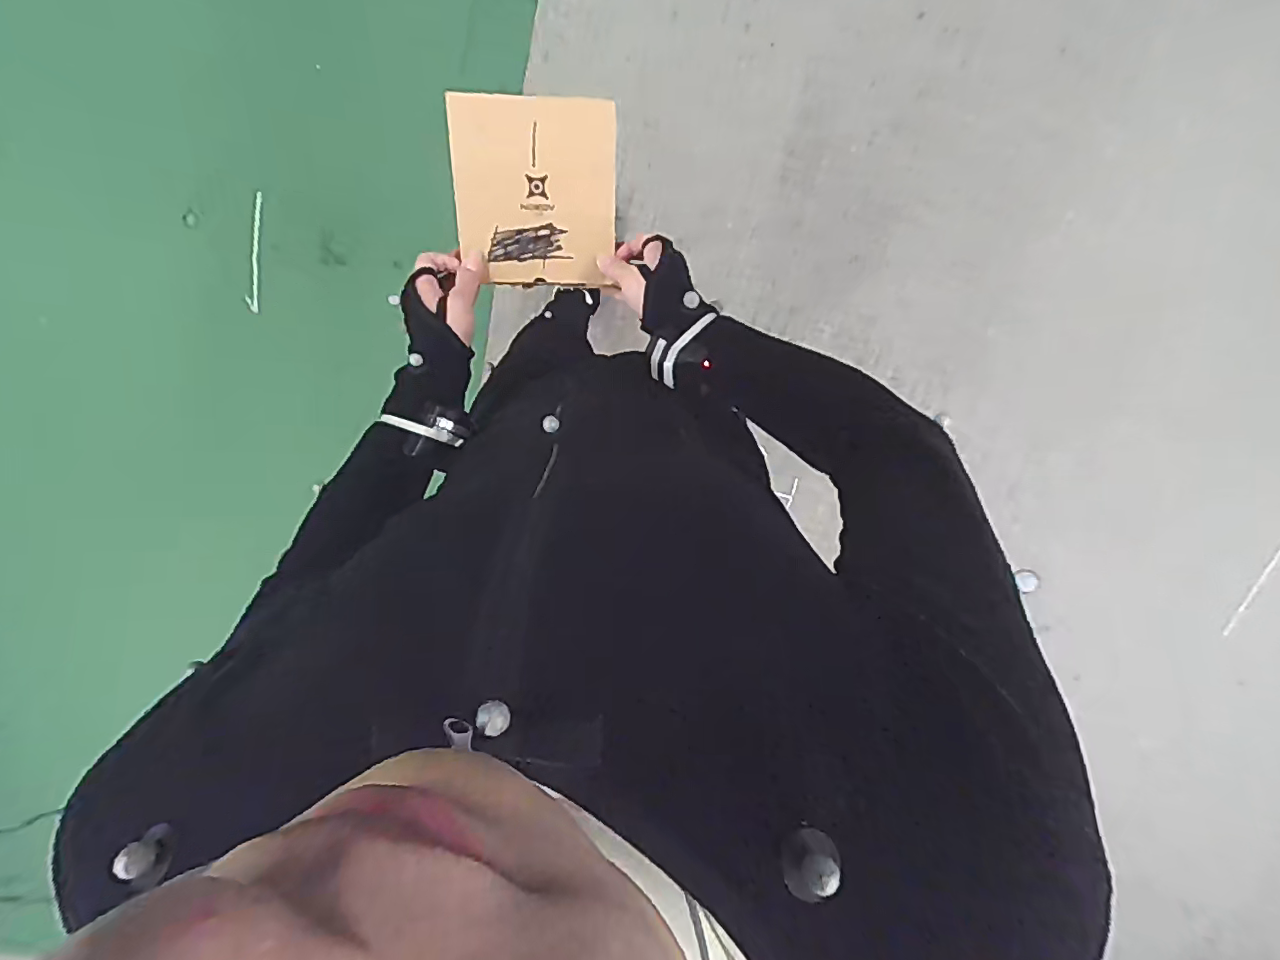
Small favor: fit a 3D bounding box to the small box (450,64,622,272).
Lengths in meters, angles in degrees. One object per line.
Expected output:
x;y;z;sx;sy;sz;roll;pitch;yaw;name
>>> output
-0.109;-0.342;0.621;0.168;0.176;0.179;1;114;-6;small box
